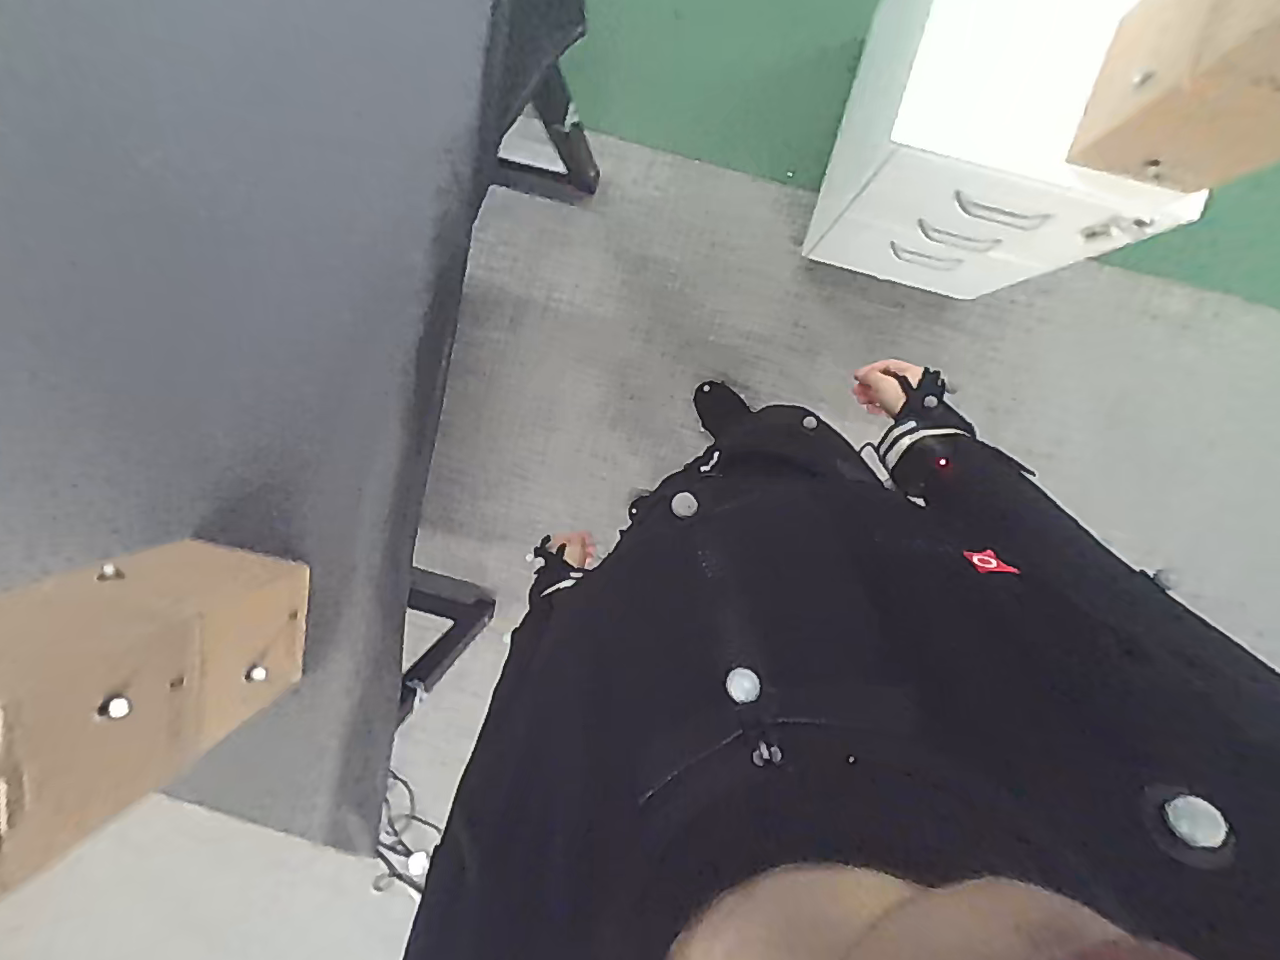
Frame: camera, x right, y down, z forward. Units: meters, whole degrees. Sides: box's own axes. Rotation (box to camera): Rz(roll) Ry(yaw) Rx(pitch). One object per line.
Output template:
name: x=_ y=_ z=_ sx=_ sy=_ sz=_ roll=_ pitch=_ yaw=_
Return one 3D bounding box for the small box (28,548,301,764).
small box: x=-0.531 y=0.188 z=0.627 sx=0.179 sy=0.176 sz=0.168 roll=10 pitch=99 yaw=3
